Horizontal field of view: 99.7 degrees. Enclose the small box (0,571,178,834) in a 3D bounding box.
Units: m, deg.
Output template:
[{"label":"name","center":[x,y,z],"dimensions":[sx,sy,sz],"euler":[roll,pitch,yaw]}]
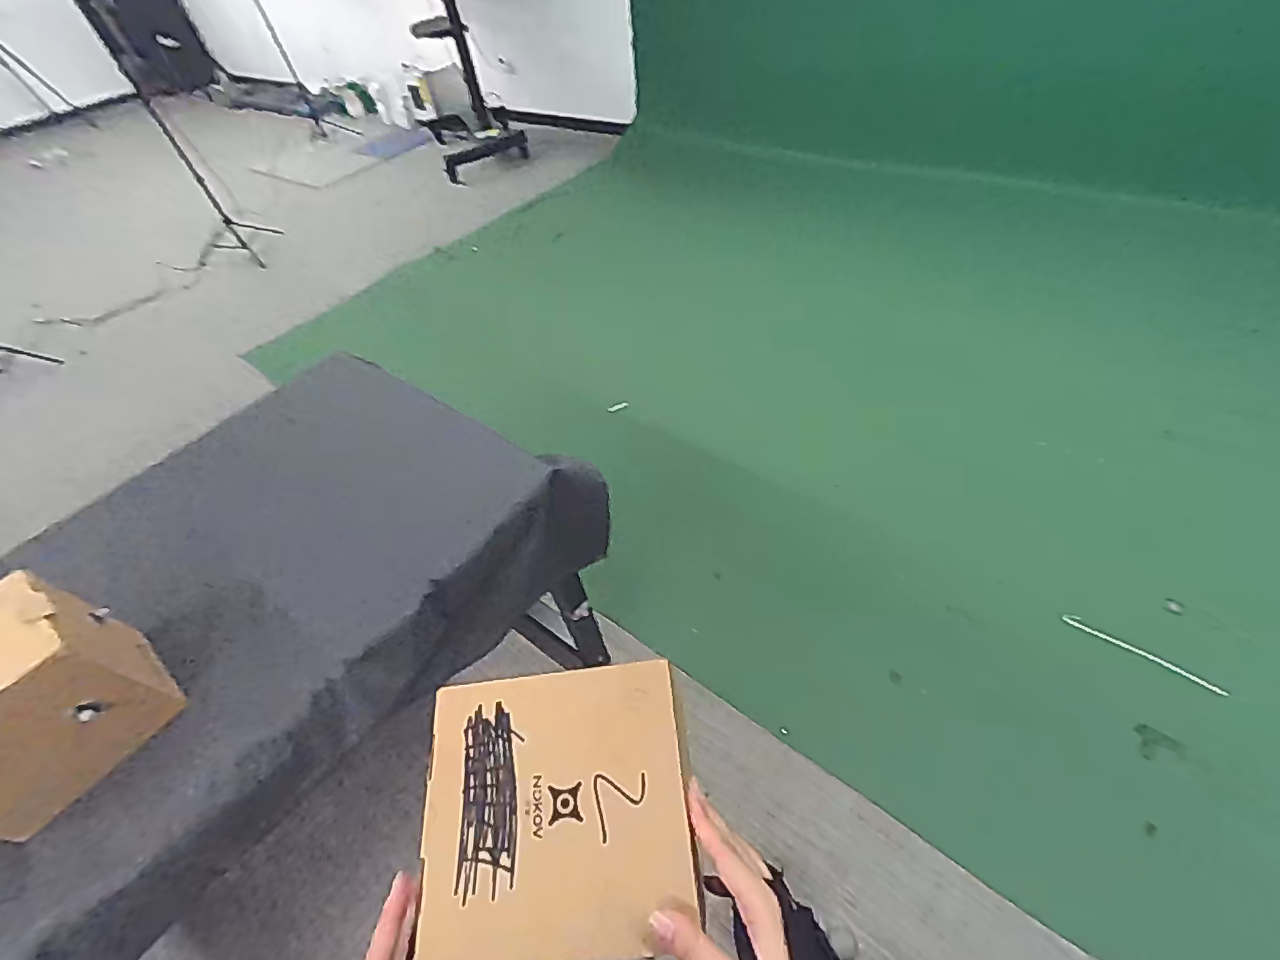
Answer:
[{"label":"small box","center":[-0.658,0.240,0.586],"dimensions":[0.168,0.176,0.179],"euler":[25,58,29]}]
